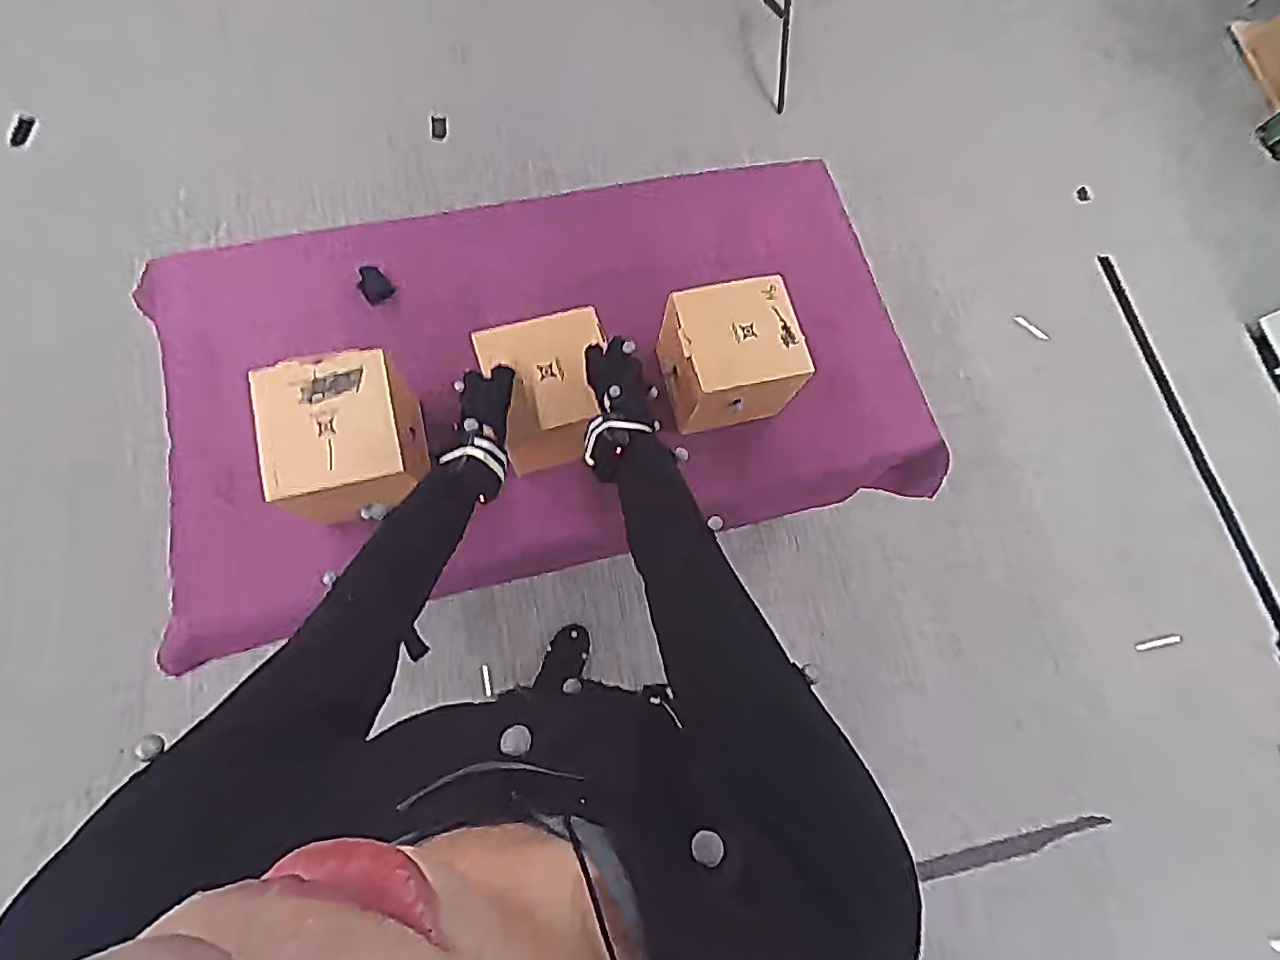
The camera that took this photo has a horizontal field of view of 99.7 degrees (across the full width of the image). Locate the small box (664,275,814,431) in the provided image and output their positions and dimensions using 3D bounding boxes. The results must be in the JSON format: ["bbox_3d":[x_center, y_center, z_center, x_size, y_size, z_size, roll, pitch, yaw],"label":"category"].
[{"bbox_3d":[0.141,-0.191,0.855,0.179,0.176,0.168,-13,76,-8],"label":"small box"}]

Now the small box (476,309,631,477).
[{"bbox_3d":[-0.126,-0.122,0.810,0.179,0.176,0.168,-18,75,-9],"label":"small box"}]
